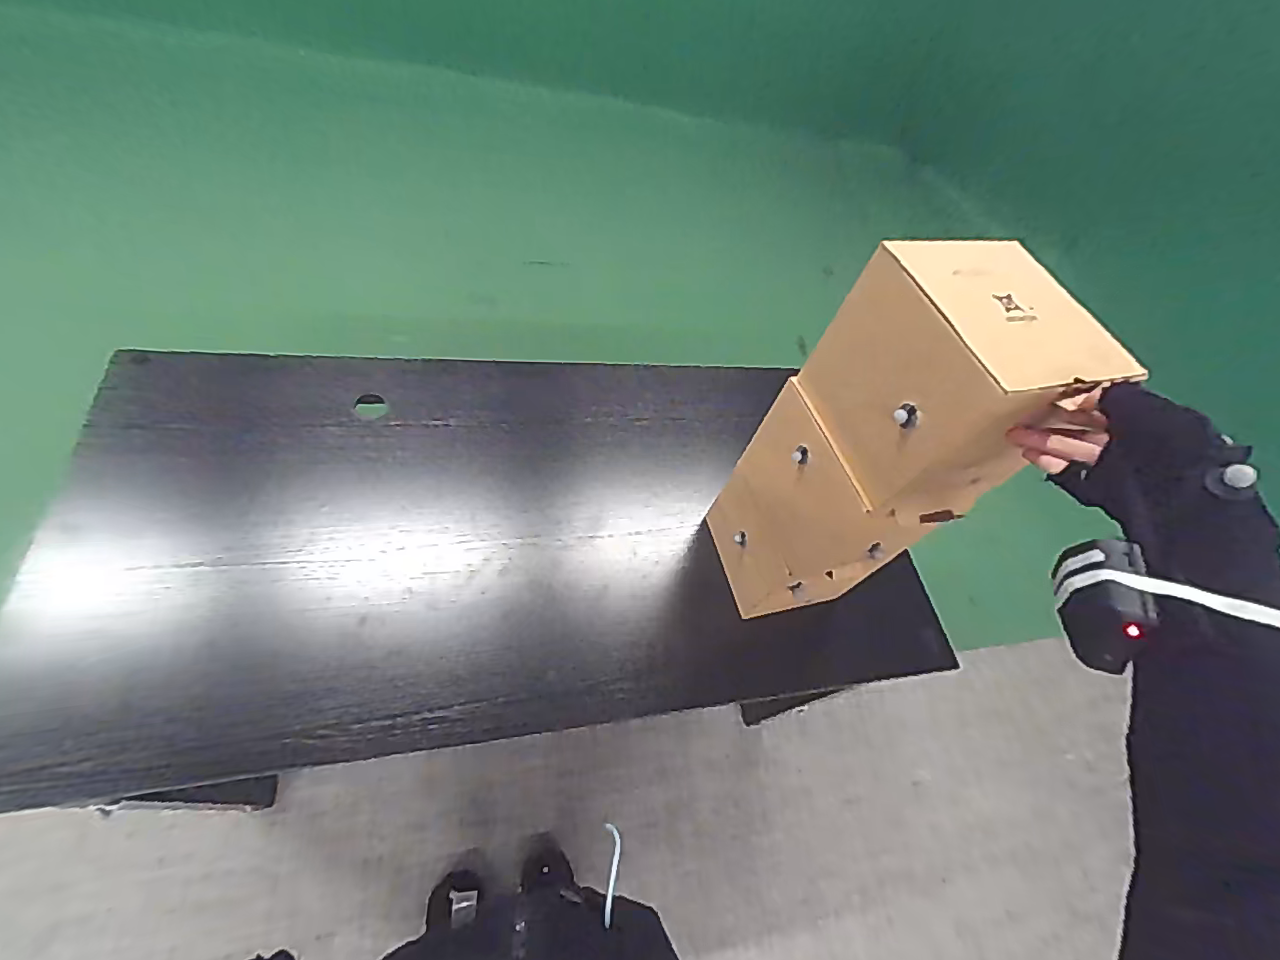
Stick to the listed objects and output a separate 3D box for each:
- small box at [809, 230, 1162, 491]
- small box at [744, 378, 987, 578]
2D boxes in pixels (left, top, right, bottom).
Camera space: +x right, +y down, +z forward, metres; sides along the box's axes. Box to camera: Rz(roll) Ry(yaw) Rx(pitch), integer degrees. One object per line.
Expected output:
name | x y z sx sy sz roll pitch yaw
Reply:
small box | 0.291 -0.103 0.500 0.168 0.176 0.179 -9 60 -19
small box | 0.248 -0.006 0.645 0.168 0.176 0.179 -9 60 -19
